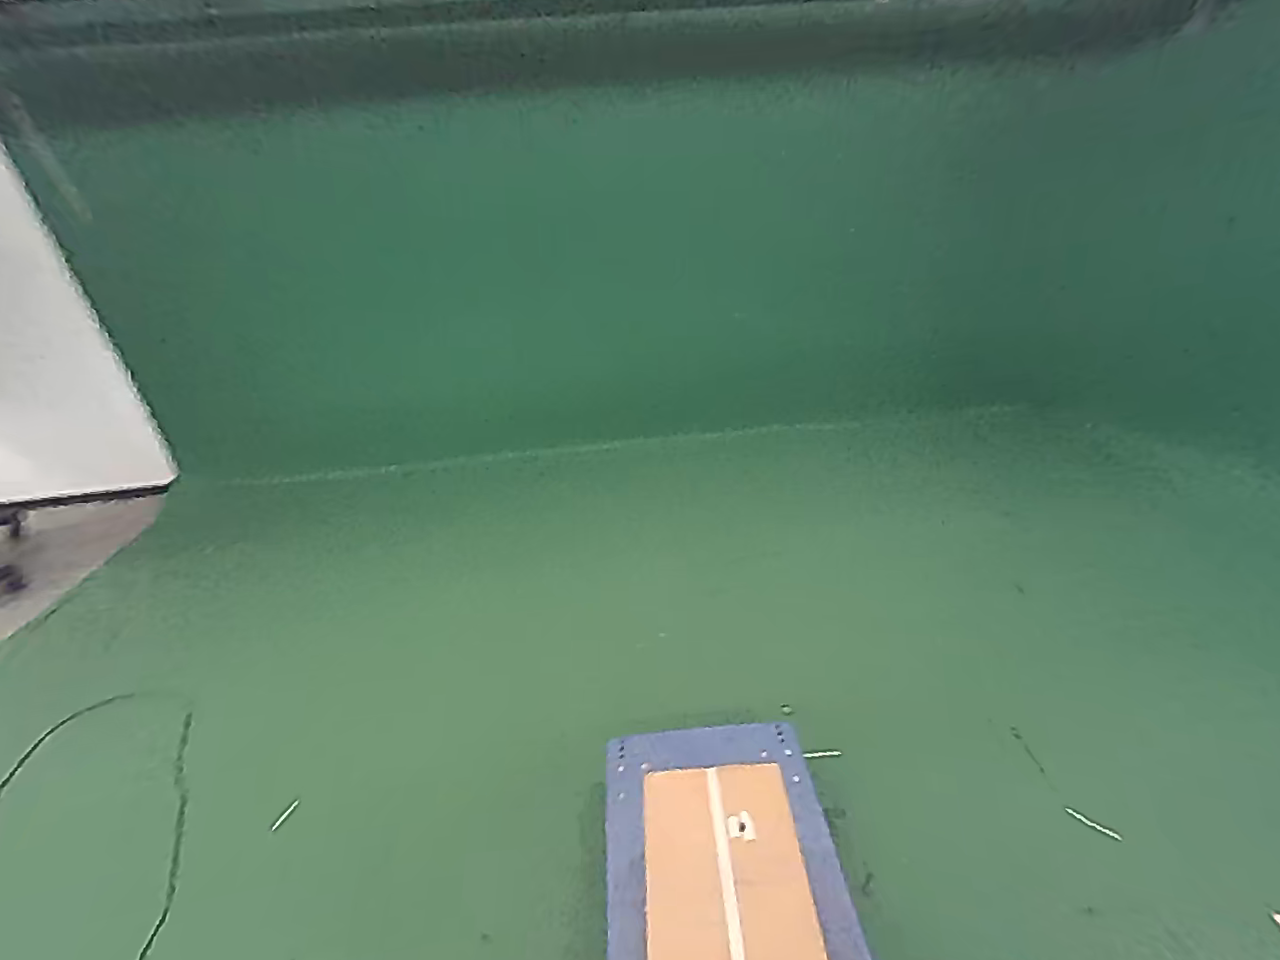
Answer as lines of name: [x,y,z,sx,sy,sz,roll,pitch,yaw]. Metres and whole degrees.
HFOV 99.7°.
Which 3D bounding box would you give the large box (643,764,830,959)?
large box: [0.178,0.883,1.130,0.320,0.320,0.408,-4,29,1]
